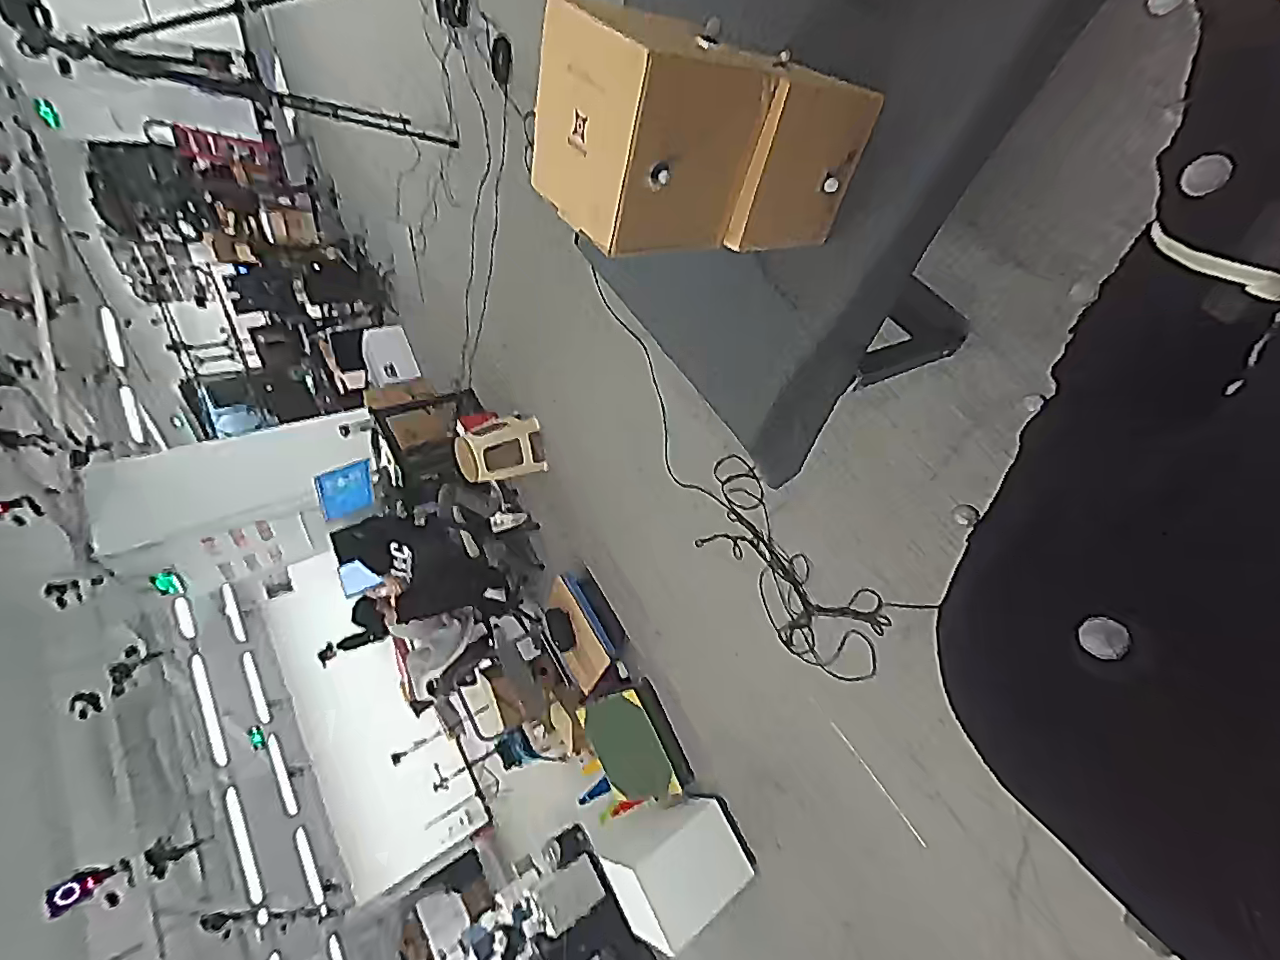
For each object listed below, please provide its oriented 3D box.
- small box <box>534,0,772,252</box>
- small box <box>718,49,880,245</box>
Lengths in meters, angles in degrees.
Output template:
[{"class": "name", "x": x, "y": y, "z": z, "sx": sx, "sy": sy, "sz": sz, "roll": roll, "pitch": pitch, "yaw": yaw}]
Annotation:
[{"class": "small box", "x": 0.008, "y": -0.367, "z": 0.569, "sx": 0.168, "sy": 0.176, "sz": 0.179, "roll": 49, "pitch": 142, "yaw": 26}, {"class": "small box", "x": 0.144, "y": -0.403, "z": 0.652, "sx": 0.179, "sy": 0.176, "sz": 0.168, "roll": 47, "pitch": 142, "yaw": 30}]
